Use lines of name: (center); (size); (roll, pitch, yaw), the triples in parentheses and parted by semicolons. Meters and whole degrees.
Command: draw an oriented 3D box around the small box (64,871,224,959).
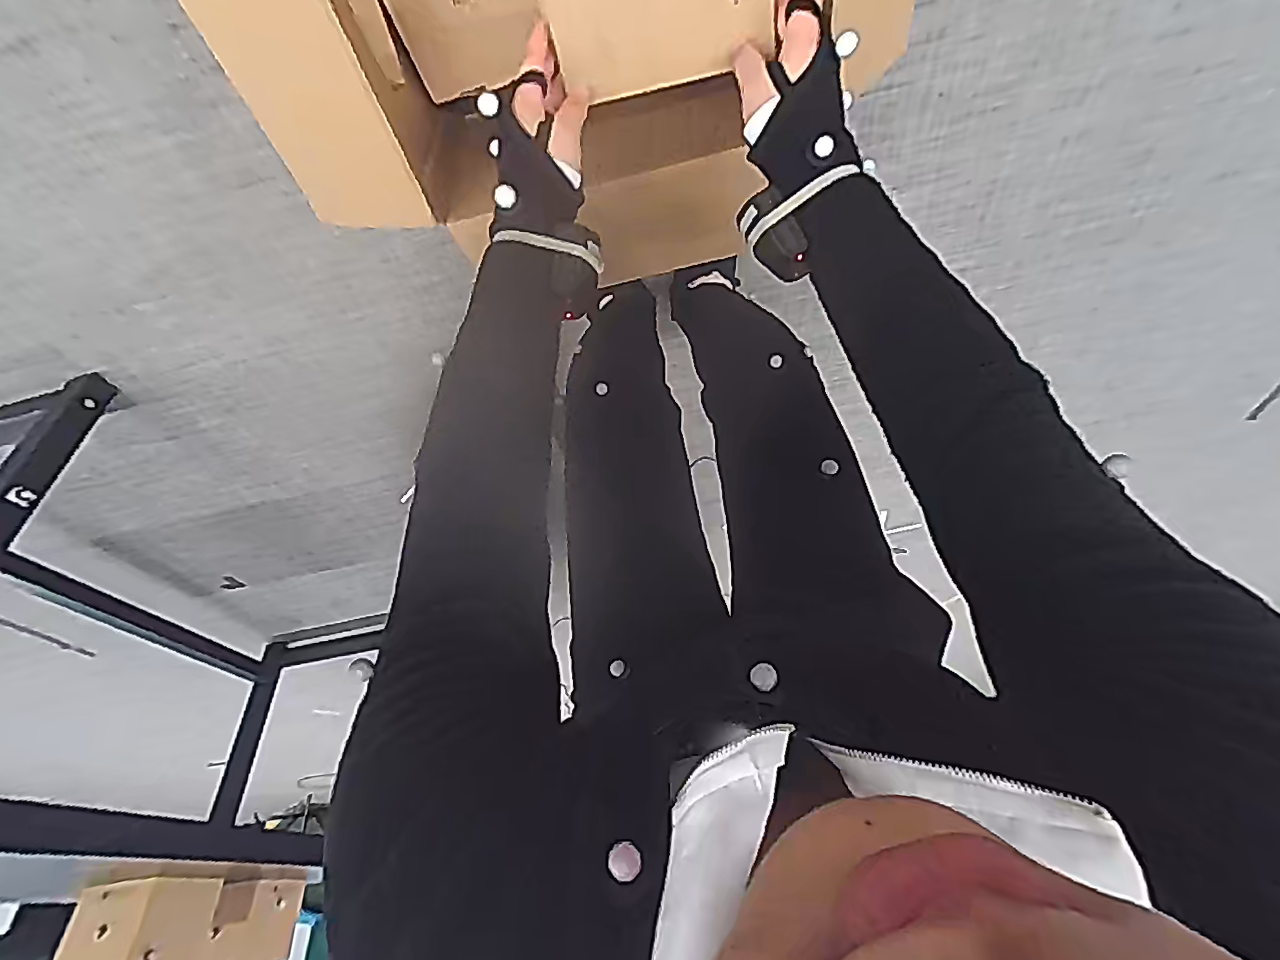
small box: (-1.022, 0.921, 1.115); (0.168, 0.176, 0.179); (-11, 142, 6)

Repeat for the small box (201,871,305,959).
small box: (-0.967, 1.077, 1.324); (0.179, 0.176, 0.168); (-14, 142, 6)

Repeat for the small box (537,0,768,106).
small box: (0.010, -0.443, 0.437); (0.179, 0.176, 0.168); (-3, 145, 13)
